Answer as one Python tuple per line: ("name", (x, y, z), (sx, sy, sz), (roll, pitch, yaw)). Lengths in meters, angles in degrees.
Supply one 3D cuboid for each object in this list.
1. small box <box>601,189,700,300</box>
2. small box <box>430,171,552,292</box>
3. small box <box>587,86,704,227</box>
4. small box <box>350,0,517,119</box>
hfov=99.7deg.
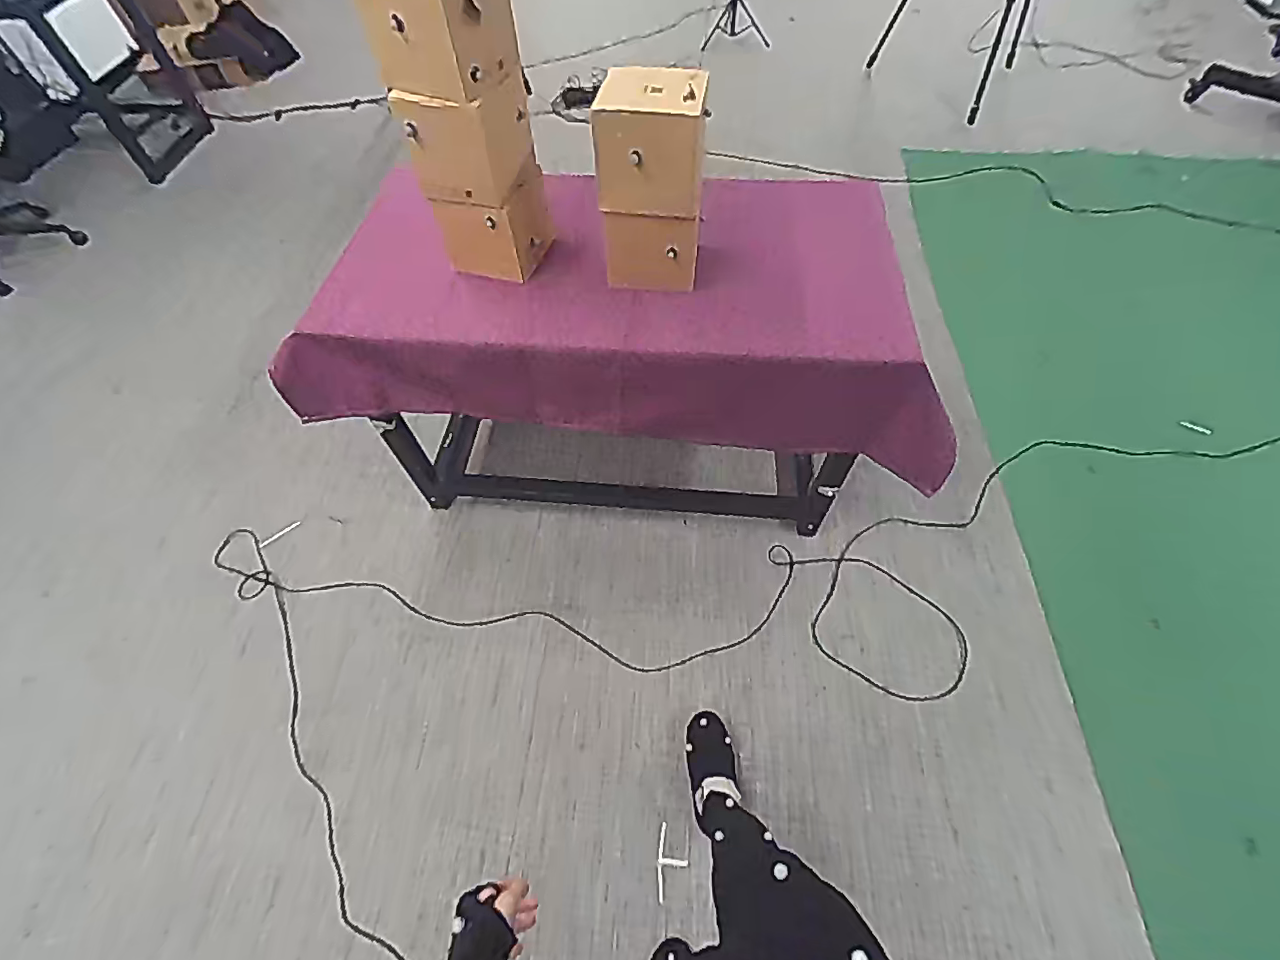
("small box", (0.025, -0.490, 1.110), (0.179, 0.176, 0.168), (5, 55, 6))
("small box", (-0.305, -0.523, 1.145), (0.179, 0.176, 0.168), (13, 58, 10))
("small box", (0.016, -0.577, 0.971), (0.179, 0.176, 0.168), (7, 56, 7))
("small box", (-0.325, -0.720, 0.882), (0.179, 0.176, 0.168), (19, 58, 15))
